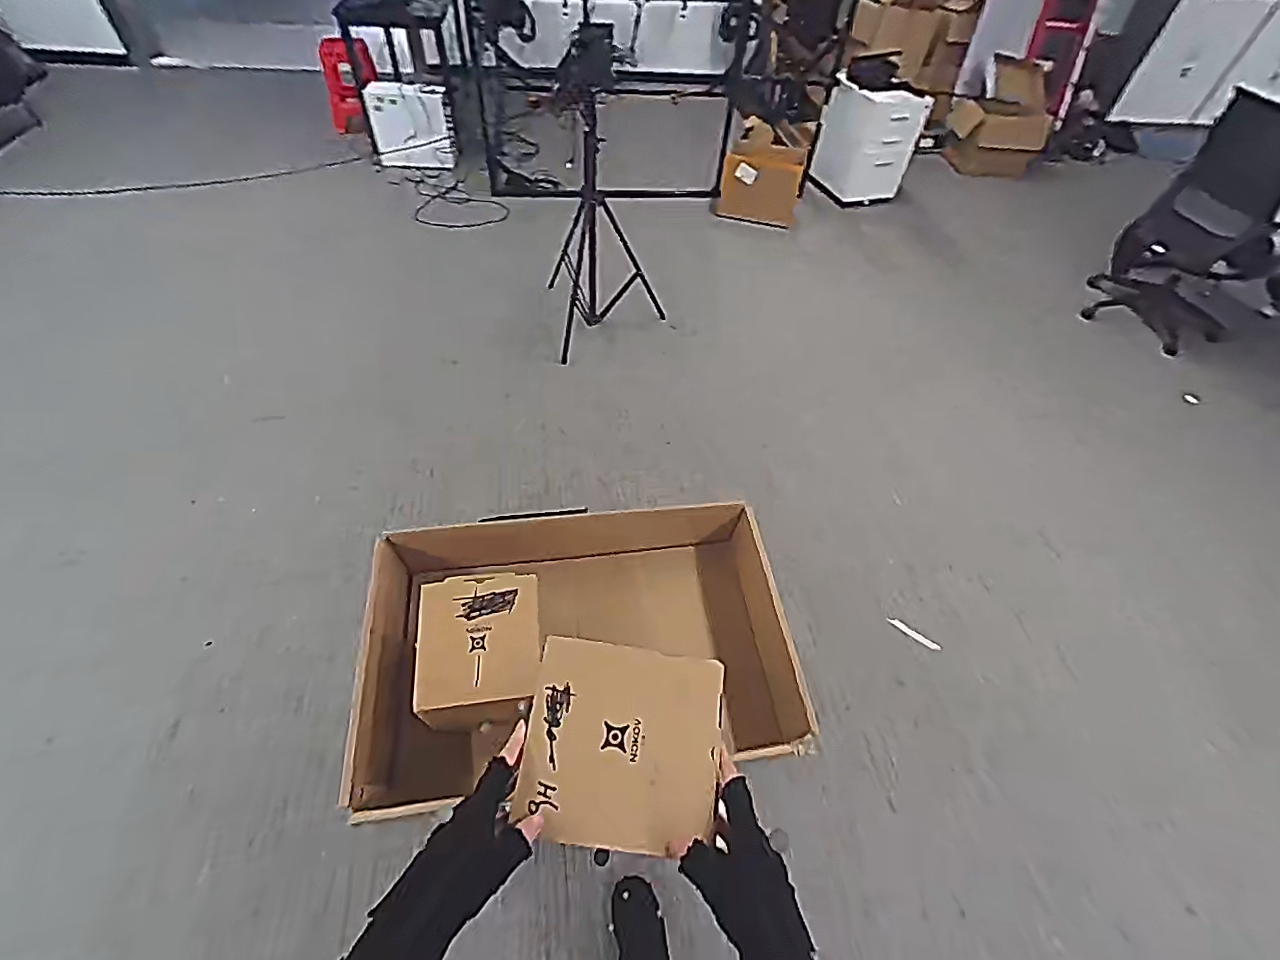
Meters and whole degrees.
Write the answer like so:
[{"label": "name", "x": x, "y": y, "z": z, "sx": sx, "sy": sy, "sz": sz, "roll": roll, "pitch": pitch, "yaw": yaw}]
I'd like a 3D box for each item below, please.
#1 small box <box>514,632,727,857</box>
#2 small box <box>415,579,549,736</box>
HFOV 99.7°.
[{"label": "small box", "x": -0.018, "y": 0.272, "z": 0.554, "sx": 0.179, "sy": 0.176, "sz": 0.168, "roll": 9, "pitch": 56, "yaw": -2}, {"label": "small box", "x": -0.225, "y": 0.267, "z": 0.810, "sx": 0.168, "sy": 0.176, "sz": 0.179, "roll": -4, "pitch": 57, "yaw": -9}]
